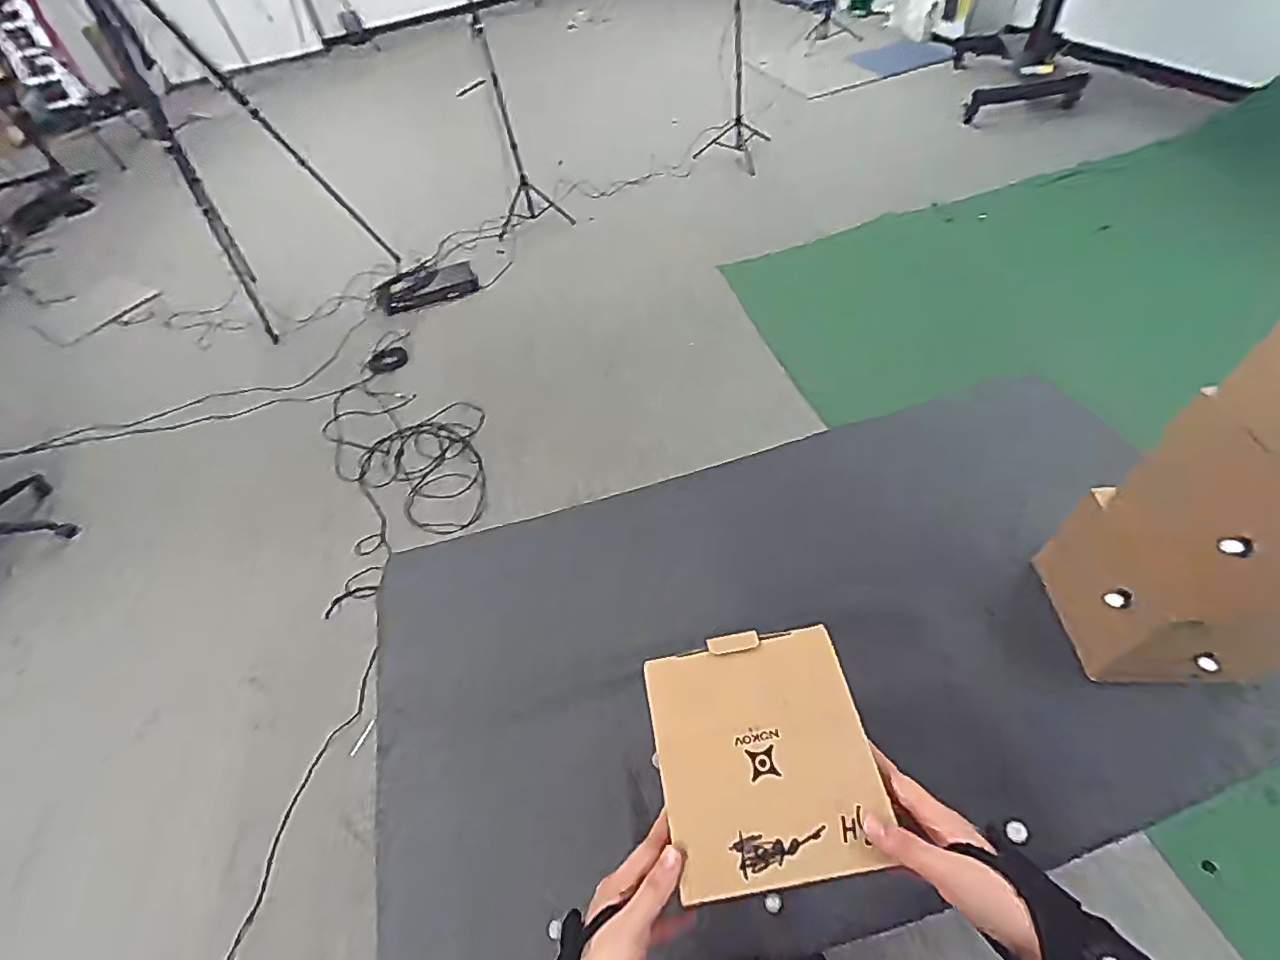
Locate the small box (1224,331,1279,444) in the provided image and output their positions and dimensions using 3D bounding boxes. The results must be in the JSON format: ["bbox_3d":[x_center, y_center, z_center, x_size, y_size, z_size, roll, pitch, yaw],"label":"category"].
[{"bbox_3d":[0.595,-0.077,0.373,0.168,0.176,0.179,-11,50,1],"label":"small box"}]

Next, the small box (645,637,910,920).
[{"bbox_3d":[0.106,0.263,0.485,0.168,0.176,0.179,-13,57,3],"label":"small box"}]

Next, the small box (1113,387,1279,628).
[{"bbox_3d":[0.610,0.025,0.502,0.168,0.176,0.179,-6,49,4],"label":"small box"}]

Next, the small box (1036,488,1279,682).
[{"bbox_3d":[0.613,0.125,0.631,0.168,0.176,0.179,-3,49,8],"label":"small box"}]
